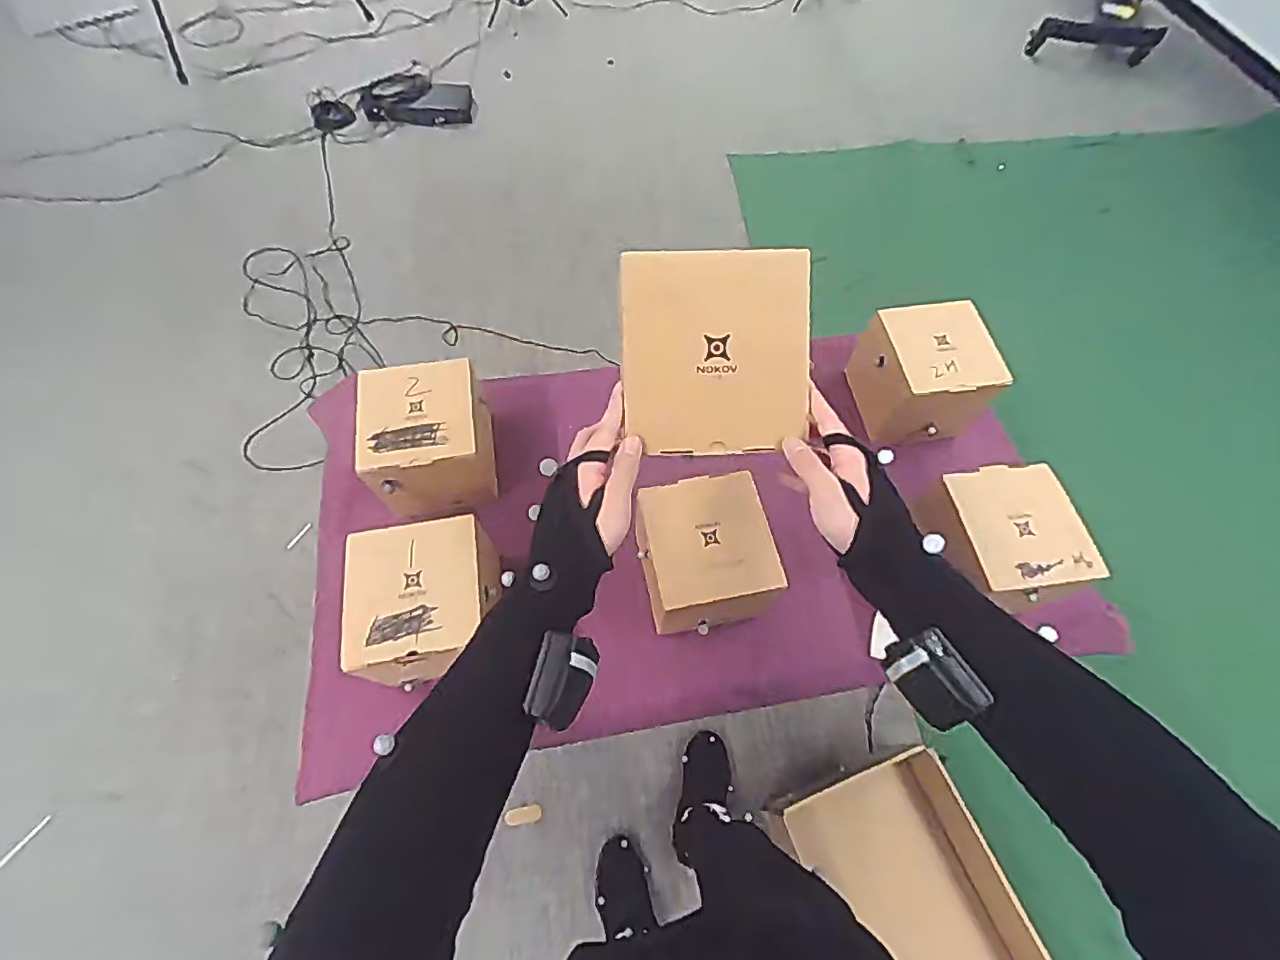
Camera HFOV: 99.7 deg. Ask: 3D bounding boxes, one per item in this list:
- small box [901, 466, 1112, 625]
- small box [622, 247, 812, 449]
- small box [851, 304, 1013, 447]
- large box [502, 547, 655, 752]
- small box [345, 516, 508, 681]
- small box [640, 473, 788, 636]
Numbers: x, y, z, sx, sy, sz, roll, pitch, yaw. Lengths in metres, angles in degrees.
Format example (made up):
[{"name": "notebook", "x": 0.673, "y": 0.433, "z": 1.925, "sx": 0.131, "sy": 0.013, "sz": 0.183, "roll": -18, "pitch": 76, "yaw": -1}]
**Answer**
[{"name": "small box", "x": 0.521, "y": 0.101, "z": 0.804, "sx": 0.168, "sy": 0.176, "sz": 0.179, "roll": -6, "pitch": 61, "yaw": -3}, {"name": "small box", "x": 0.067, "y": -0.122, "z": 0.558, "sx": 0.168, "sy": 0.176, "sz": 0.179, "roll": -2, "pitch": 96, "yaw": -2}, {"name": "small box", "x": 0.492, "y": -0.179, "z": 0.946, "sx": 0.168, "sy": 0.176, "sz": 0.179, "roll": -7, "pitch": 65, "yaw": -2}, {"name": "large box", "x": -0.158, "y": 0.432, "z": 1.364, "sx": 0.320, "sy": 0.320, "sz": 0.408, "roll": -9, "pitch": 62, "yaw": -7}, {"name": "small box", "x": -0.283, "y": 0.172, "z": 0.749, "sx": 0.168, "sy": 0.176, "sz": 0.179, "roll": -9, "pitch": 62, "yaw": -7}, {"name": "small box", "x": 0.094, "y": 0.113, "z": 0.791, "sx": 0.168, "sy": 0.176, "sz": 0.179, "roll": -9, "pitch": 63, "yaw": -5}]
